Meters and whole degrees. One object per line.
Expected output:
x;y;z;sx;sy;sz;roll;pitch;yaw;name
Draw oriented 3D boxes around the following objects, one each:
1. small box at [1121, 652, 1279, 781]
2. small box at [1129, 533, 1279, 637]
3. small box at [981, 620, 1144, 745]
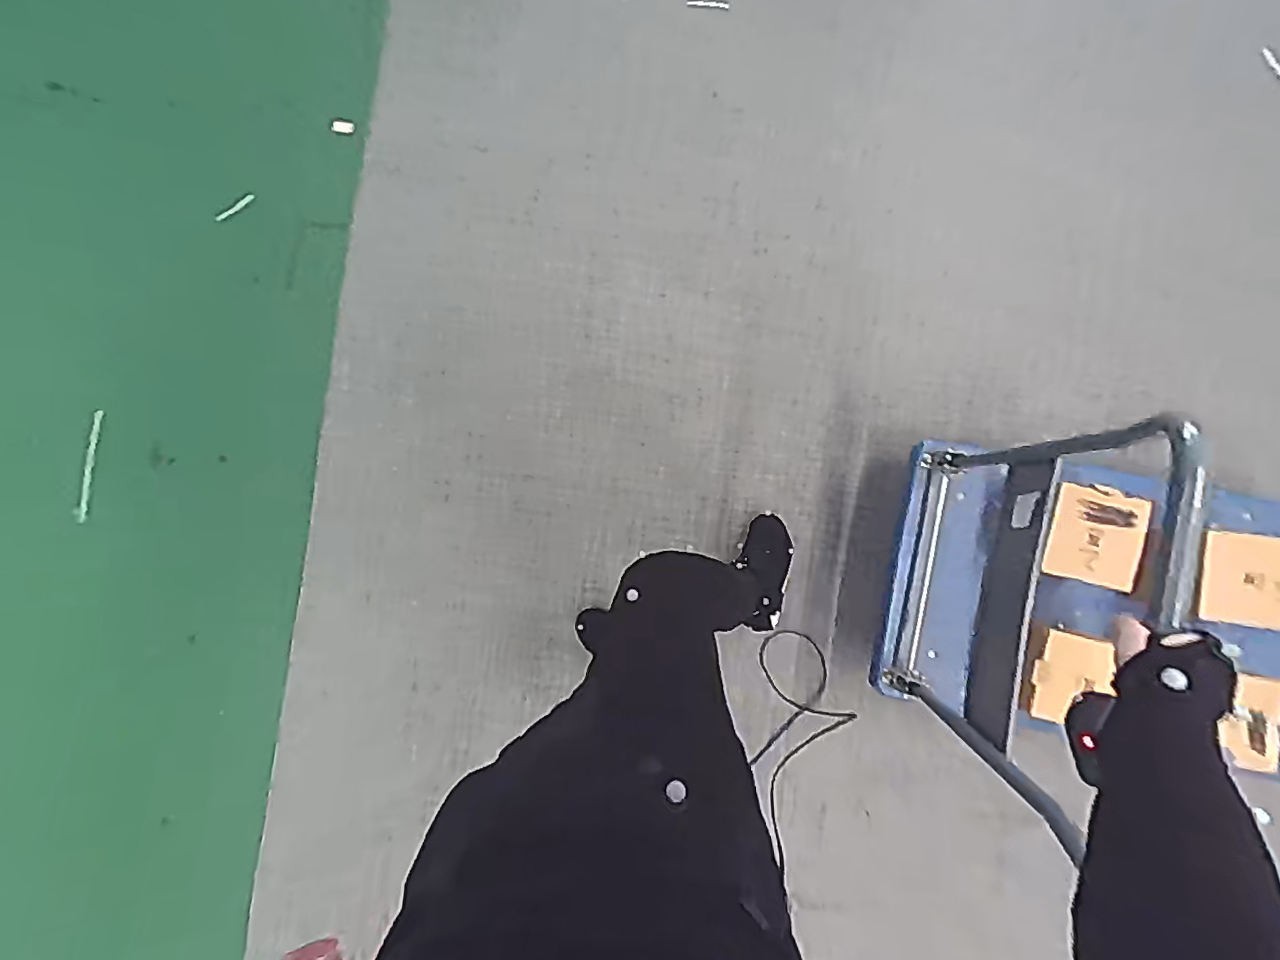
1.065;0.447;1.050;0.179;0.176;0.168;10;88;5;small box
1.116;0.198;1.057;0.179;0.176;0.168;8;89;5;small box
0.825;0.390;1.073;0.179;0.176;0.168;13;89;6;small box
